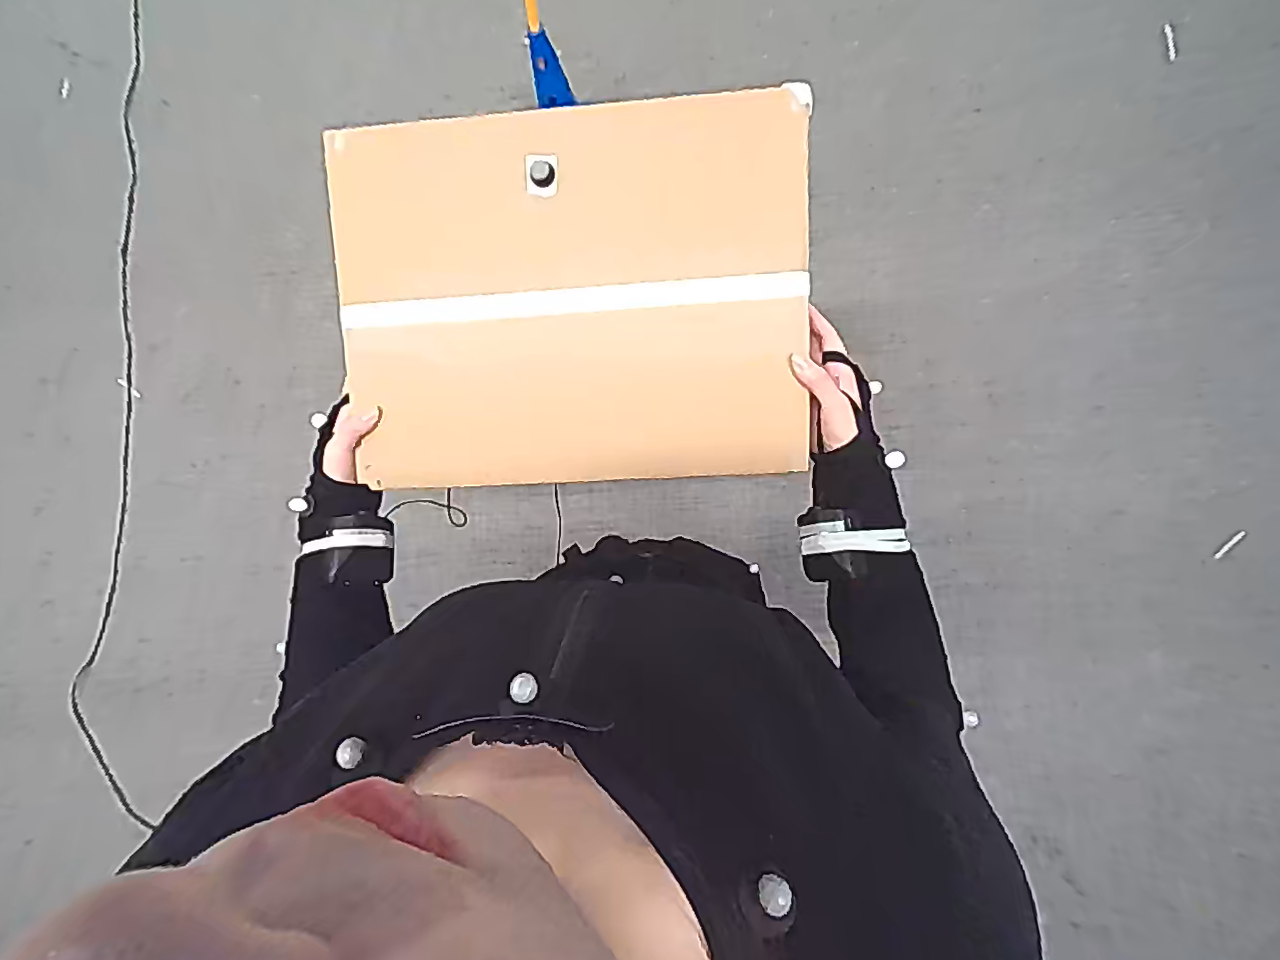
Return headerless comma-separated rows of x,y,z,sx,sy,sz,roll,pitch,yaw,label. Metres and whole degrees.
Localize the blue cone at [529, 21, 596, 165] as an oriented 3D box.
-0.240,-1.066,1.469,0.193,0.380,0.192,-6,84,2,blue cone
